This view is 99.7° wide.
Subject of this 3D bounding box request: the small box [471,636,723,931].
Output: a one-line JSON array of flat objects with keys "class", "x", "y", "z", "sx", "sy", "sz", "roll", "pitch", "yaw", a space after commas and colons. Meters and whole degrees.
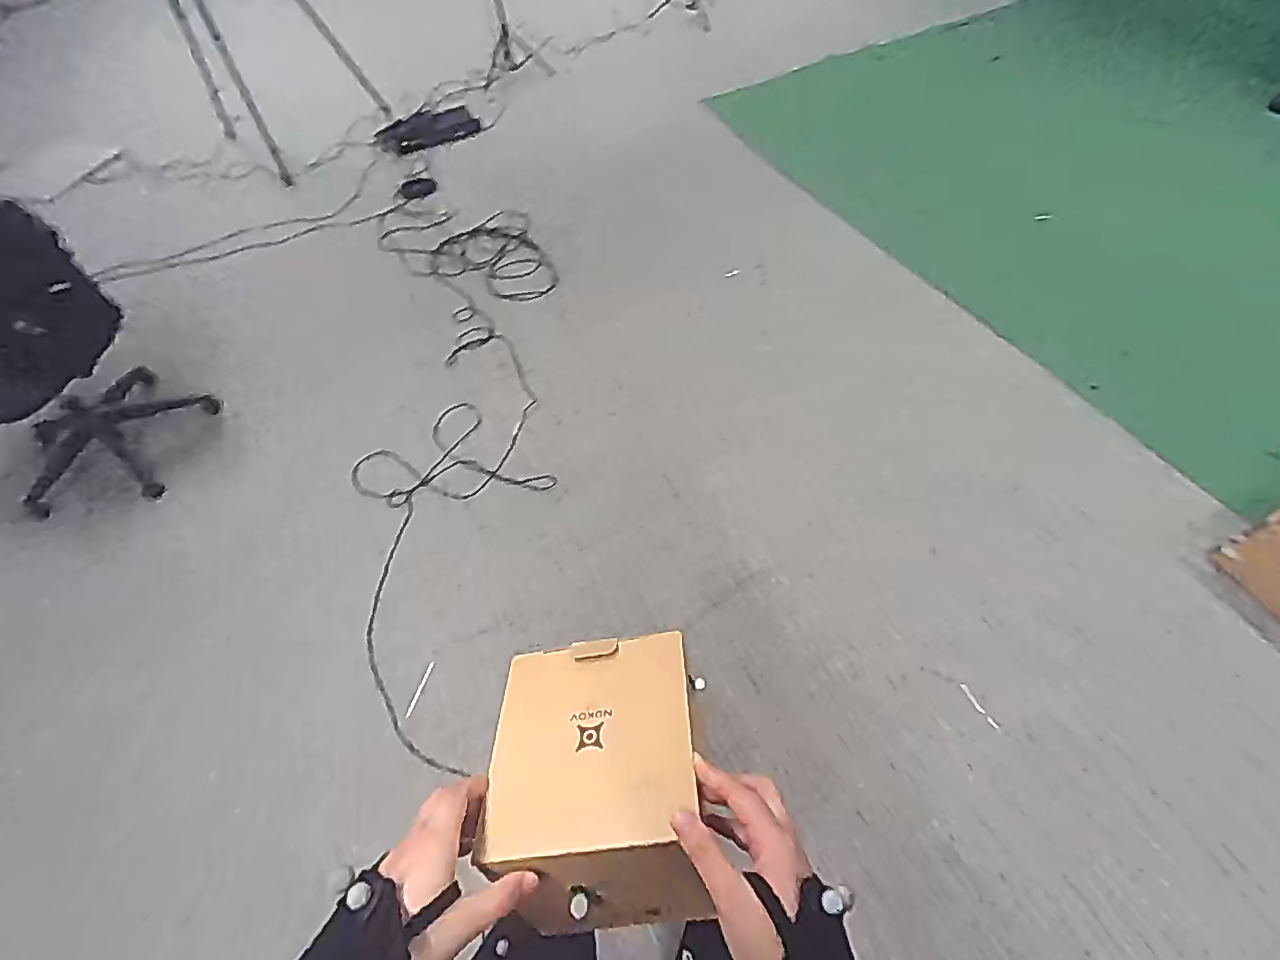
[{"class": "small box", "x": -0.024, "y": 0.270, "z": 0.480, "sx": 0.168, "sy": 0.176, "sz": 0.179, "roll": -9, "pitch": 35, "yaw": 6}]
